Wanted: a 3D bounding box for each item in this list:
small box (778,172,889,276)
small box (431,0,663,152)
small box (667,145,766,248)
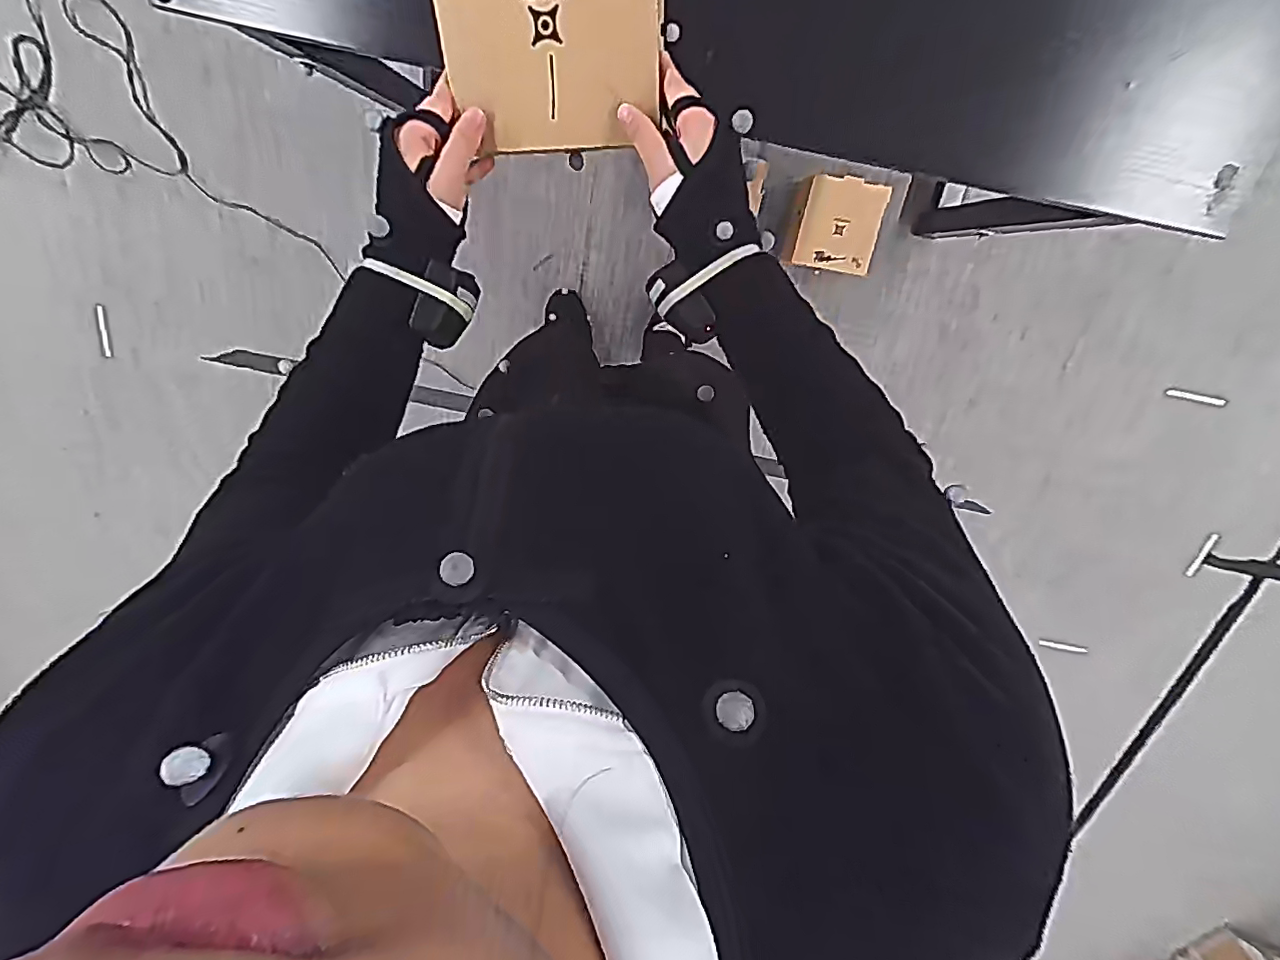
[{"bbox_3d":[0.419,-0.563,1.205,0.168,0.176,0.179,11,112,0],"label":"small box"},{"bbox_3d":[-0.066,-0.385,0.460,0.168,0.176,0.179,0,122,4],"label":"small box"},{"bbox_3d":[0.162,-0.619,1.199,0.179,0.176,0.168,11,112,0],"label":"small box"}]
